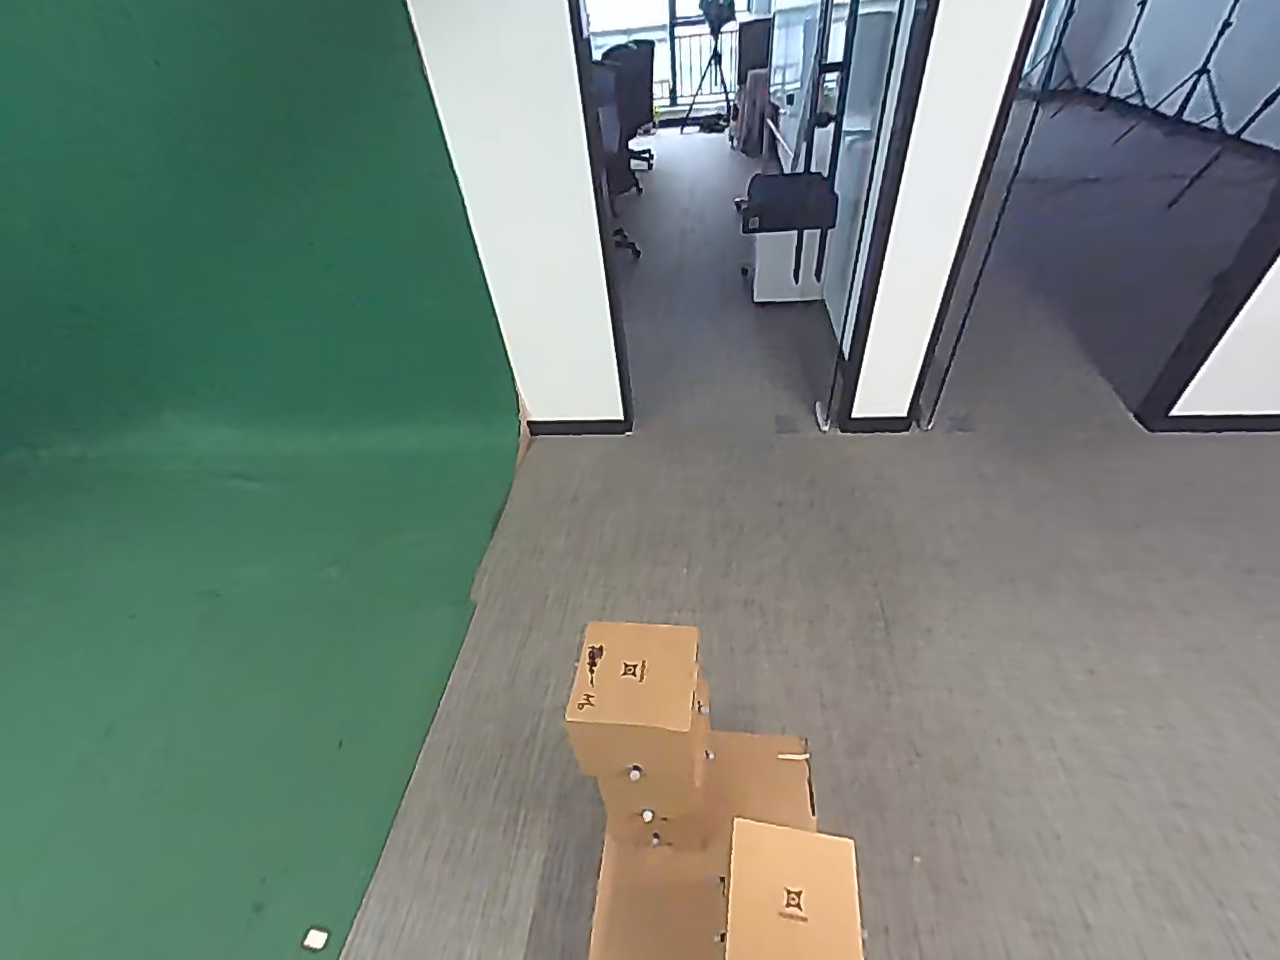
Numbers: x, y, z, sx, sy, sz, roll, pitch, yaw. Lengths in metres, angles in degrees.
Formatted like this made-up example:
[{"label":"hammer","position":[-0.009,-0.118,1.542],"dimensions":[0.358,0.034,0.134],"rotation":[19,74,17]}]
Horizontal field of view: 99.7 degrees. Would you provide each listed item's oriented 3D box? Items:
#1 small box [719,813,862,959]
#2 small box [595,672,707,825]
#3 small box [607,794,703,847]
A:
[{"label":"small box","position":[0.200,0.603,0.753],"dimensions":[0.168,0.176,0.179],"rotation":[4,42,10]},{"label":"small box","position":[0.029,0.462,0.937],"dimensions":[0.168,0.176,0.179],"rotation":[2,40,10]},{"label":"small box","position":[0.037,0.580,1.054],"dimensions":[0.168,0.176,0.179],"rotation":[0,39,9]}]
